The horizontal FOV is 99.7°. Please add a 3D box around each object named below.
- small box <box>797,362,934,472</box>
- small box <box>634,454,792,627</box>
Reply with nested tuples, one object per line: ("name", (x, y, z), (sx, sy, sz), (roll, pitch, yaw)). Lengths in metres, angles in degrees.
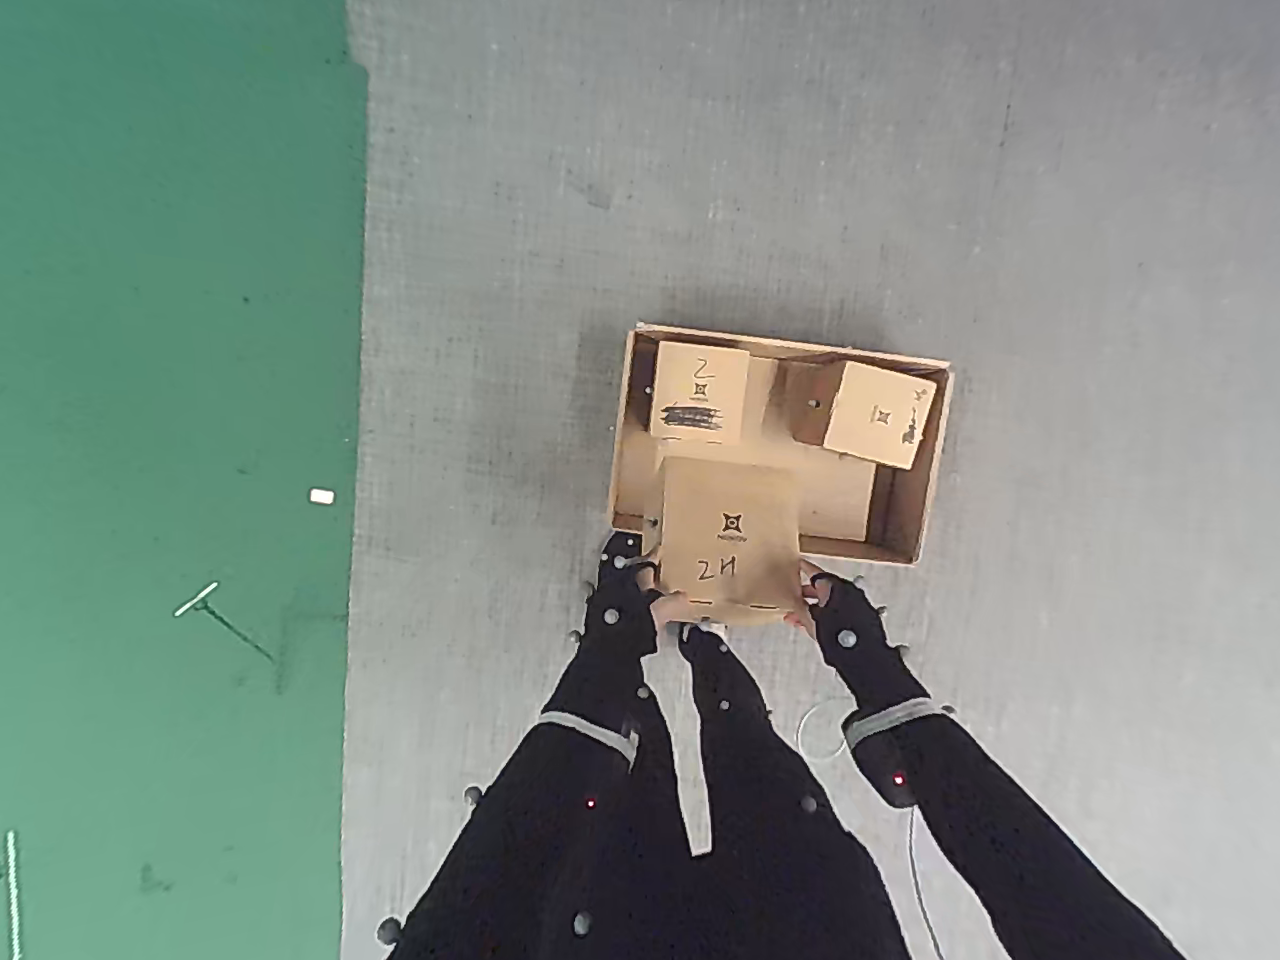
("small box", (0.429, -0.122, 1.061), (0.179, 0.176, 0.168), (16, 98, -1))
("small box", (0.086, 0.087, 0.704), (0.168, 0.176, 0.179), (7, 68, -5))
